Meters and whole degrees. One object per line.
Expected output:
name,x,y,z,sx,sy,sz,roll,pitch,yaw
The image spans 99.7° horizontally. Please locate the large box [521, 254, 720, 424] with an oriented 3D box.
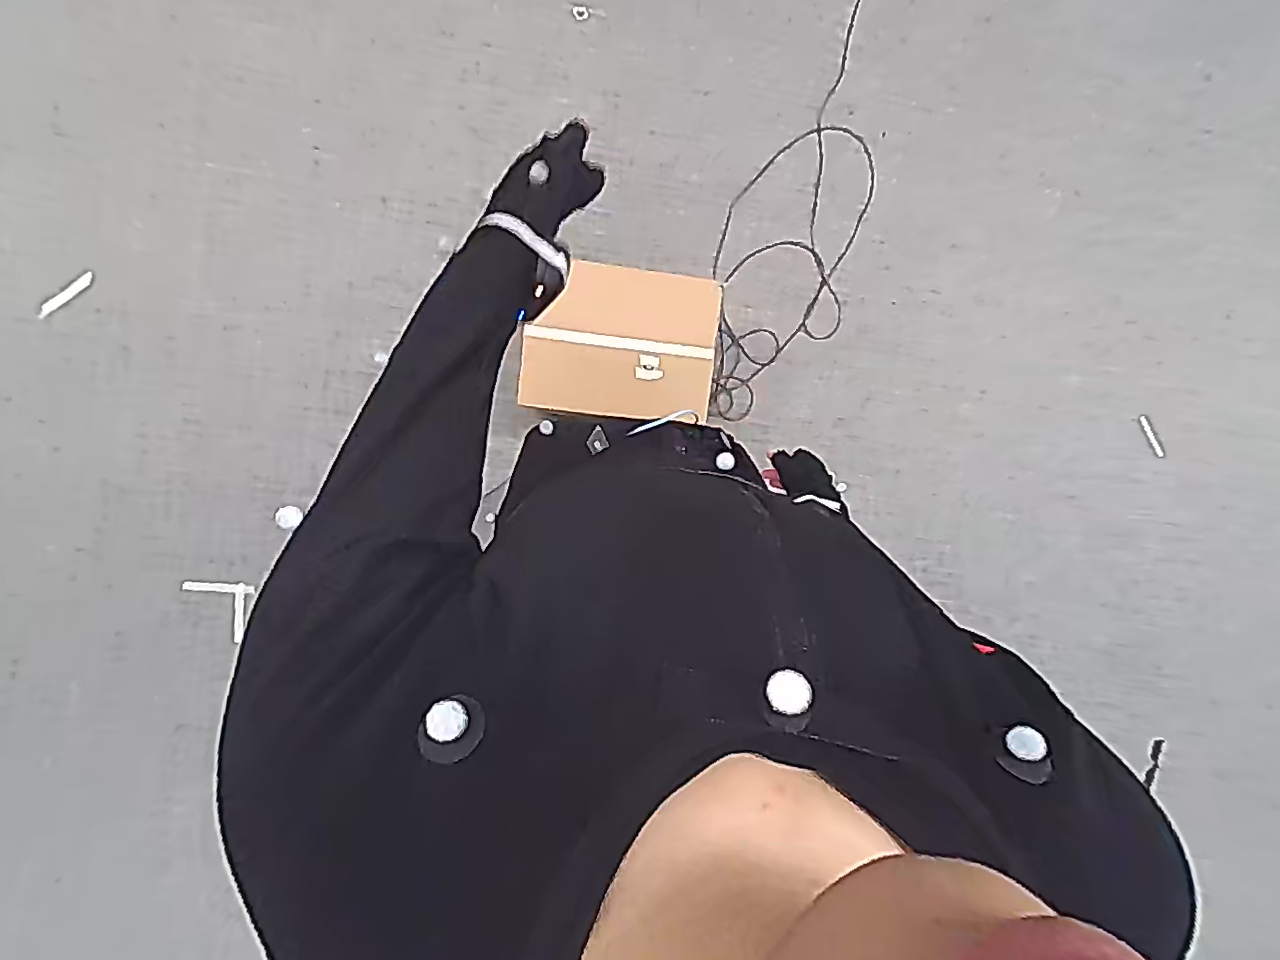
large box,-0.054,-0.312,1.296,0.408,0.320,0.320,7,95,-5
